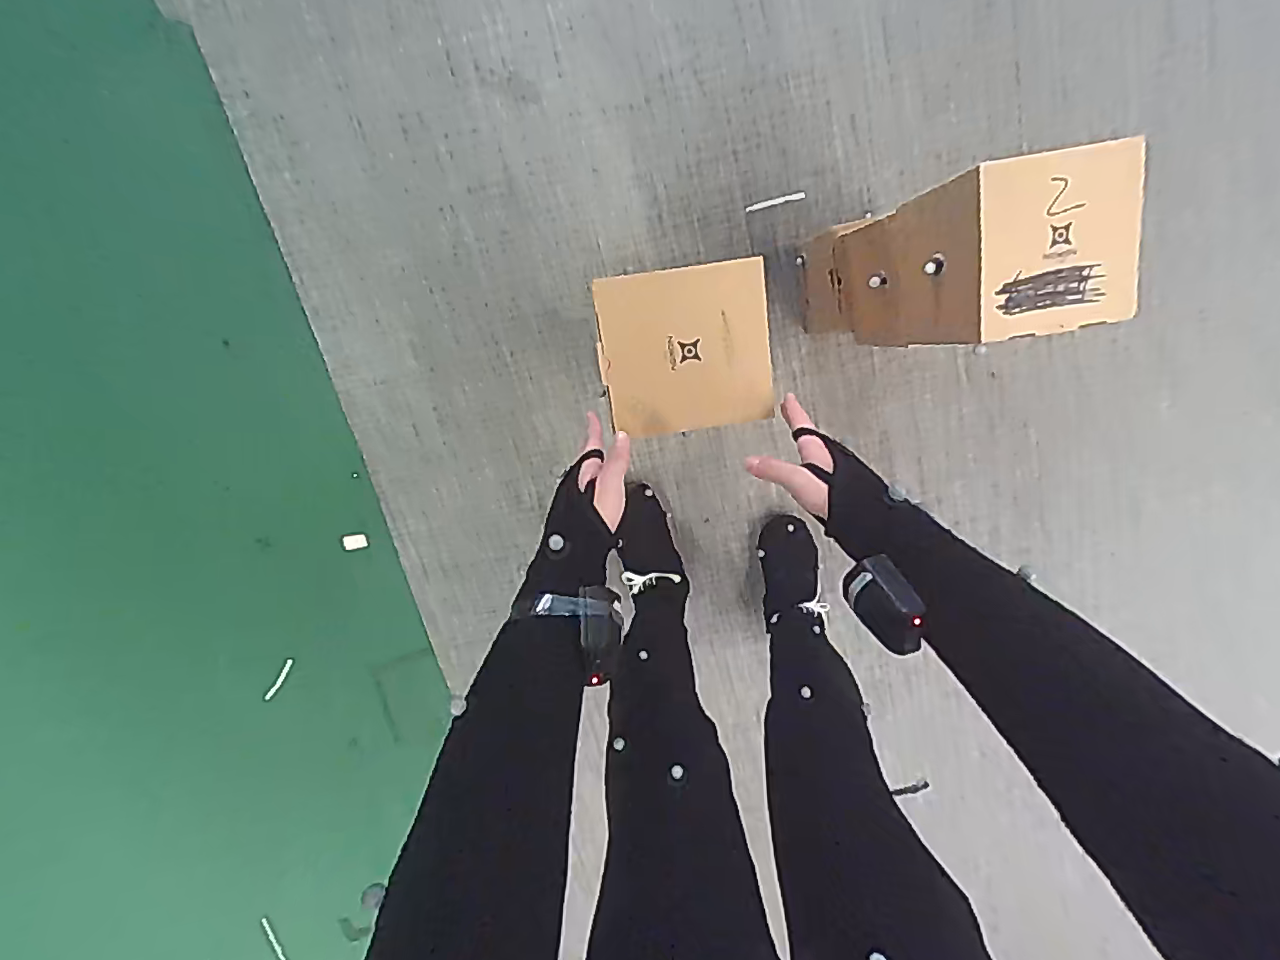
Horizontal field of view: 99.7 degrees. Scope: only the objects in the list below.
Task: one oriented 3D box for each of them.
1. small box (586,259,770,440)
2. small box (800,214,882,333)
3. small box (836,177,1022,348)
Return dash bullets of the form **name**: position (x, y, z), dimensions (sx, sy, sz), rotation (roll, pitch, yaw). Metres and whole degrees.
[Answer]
- **small box**: position (0.040, -0.150, 0.631), dimensions (0.179, 0.176, 0.168), rotation (-9, 105, -1)
- **small box**: position (0.389, -0.353, 0.932), dimensions (0.179, 0.176, 0.168), rotation (-13, 105, 0)
- **small box**: position (0.405, -0.300, 0.779), dimensions (0.168, 0.176, 0.179), rotation (-17, 104, 2)
